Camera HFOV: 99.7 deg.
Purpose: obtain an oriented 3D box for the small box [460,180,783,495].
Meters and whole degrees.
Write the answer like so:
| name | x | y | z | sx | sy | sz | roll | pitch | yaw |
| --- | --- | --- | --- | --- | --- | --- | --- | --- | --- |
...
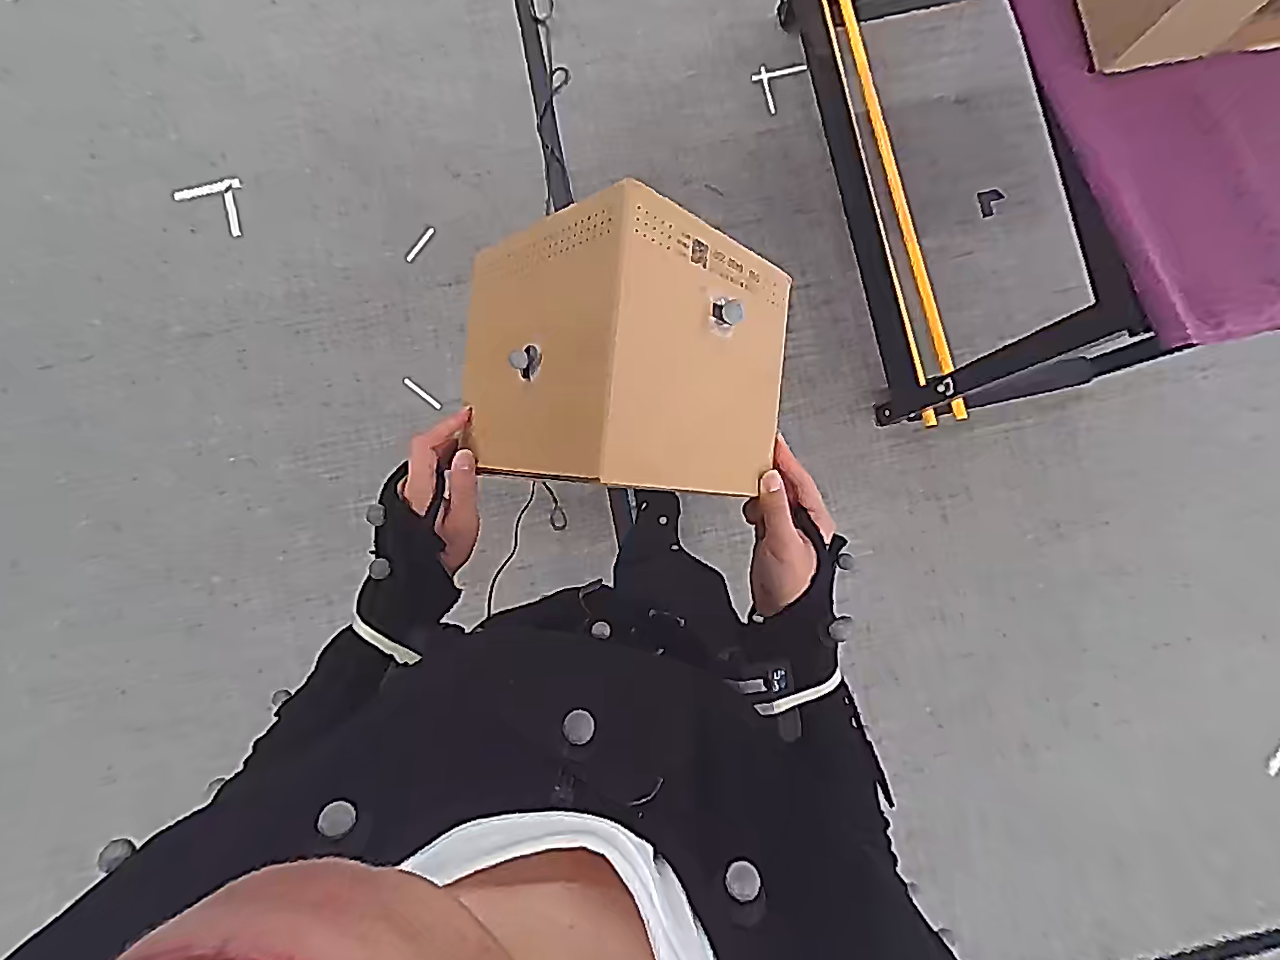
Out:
| name | x | y | z | sx | sy | sz | roll | pitch | yaw |
| --- | --- | --- | --- | --- | --- | --- | --- | --- | --- |
| small box | -0.012 | -0.084 | 0.404 | 0.168 | 0.179 | 0.176 | 5 | 90 | -44 |
